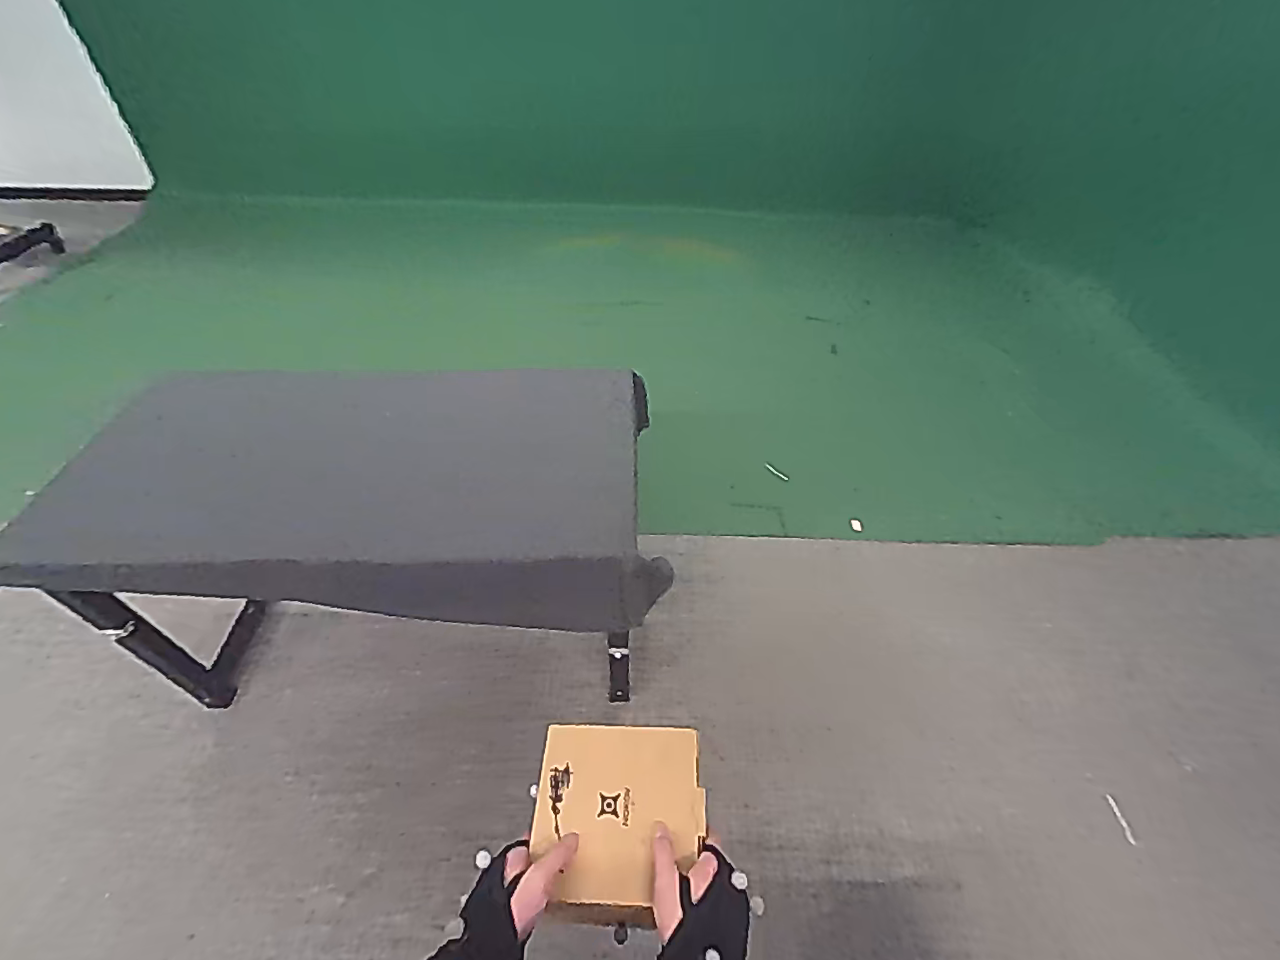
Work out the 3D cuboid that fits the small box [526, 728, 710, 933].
[{"bbox_3d":[-0.017,0.400,0.617,0.179,0.176,0.168,1,45,3],"label":"small box"}]
